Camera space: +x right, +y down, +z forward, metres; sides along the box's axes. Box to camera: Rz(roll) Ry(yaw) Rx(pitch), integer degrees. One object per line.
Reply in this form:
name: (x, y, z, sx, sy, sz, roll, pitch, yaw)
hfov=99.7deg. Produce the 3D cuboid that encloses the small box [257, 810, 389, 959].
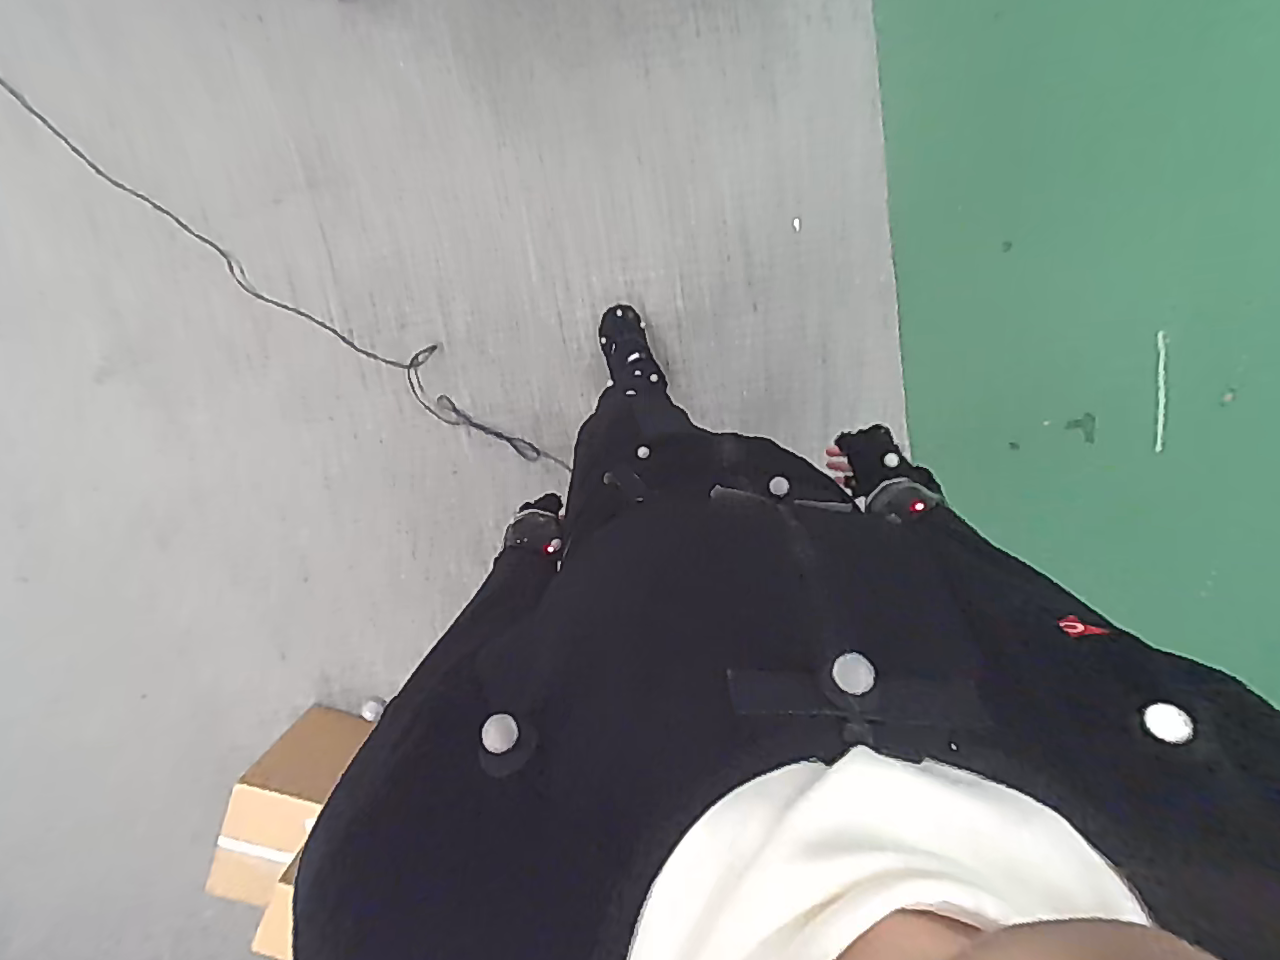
small box: (-0.680, 0.874, 1.180, 0.168, 0.176, 0.179, 23, 97, -6)
